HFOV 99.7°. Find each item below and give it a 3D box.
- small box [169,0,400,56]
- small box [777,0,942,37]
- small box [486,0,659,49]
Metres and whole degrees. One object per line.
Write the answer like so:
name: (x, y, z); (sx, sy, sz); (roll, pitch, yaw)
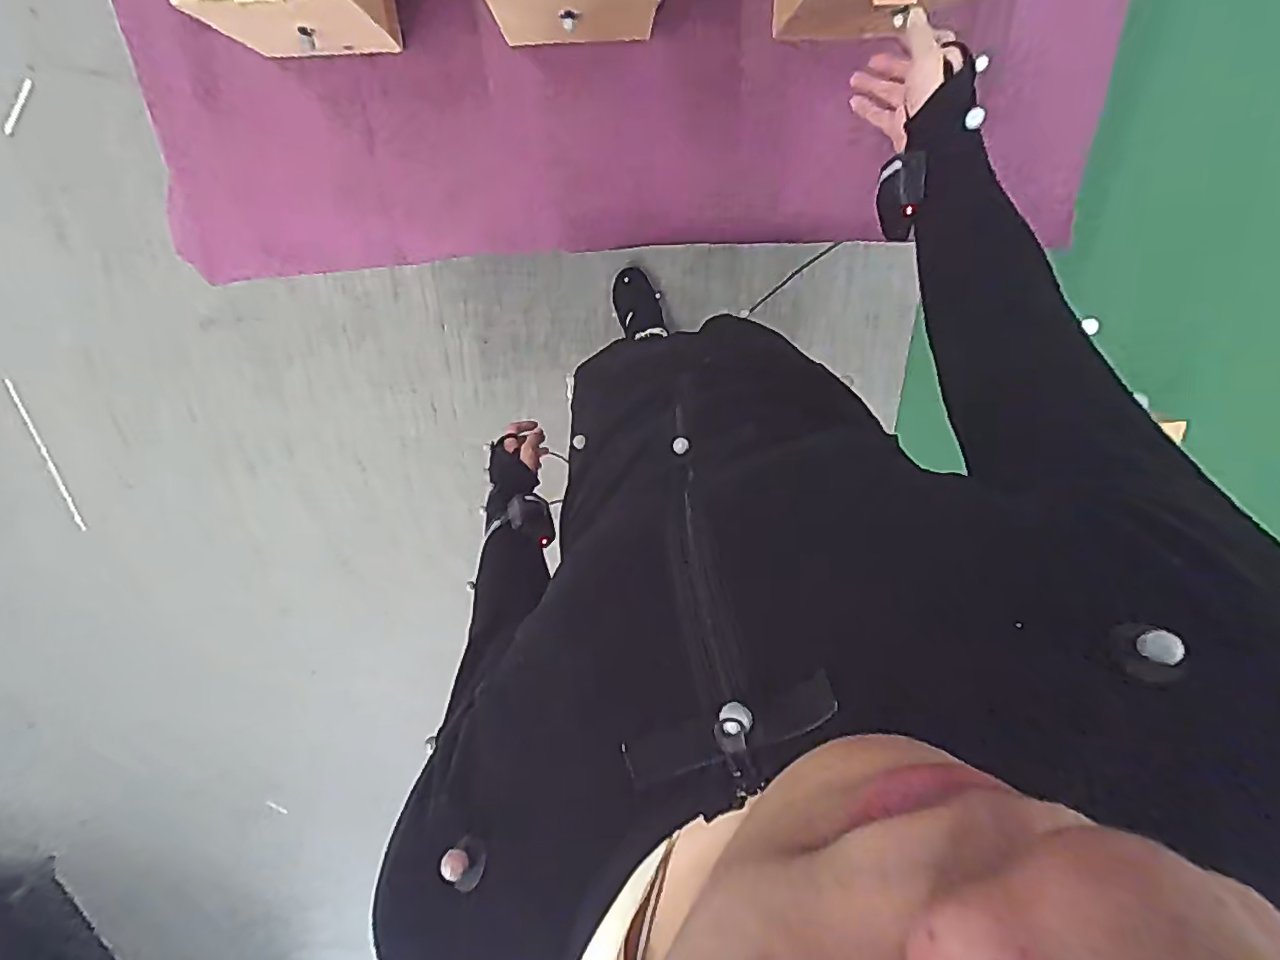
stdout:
small box: (-0.364, -0.553, 0.544); (0.168, 0.176, 0.179); (-4, 114, -2)
small box: (0.247, -0.590, 0.562); (0.168, 0.176, 0.179); (-3, 113, -2)
small box: (-0.072, -0.571, 0.553); (0.179, 0.176, 0.168); (-4, 114, -1)
